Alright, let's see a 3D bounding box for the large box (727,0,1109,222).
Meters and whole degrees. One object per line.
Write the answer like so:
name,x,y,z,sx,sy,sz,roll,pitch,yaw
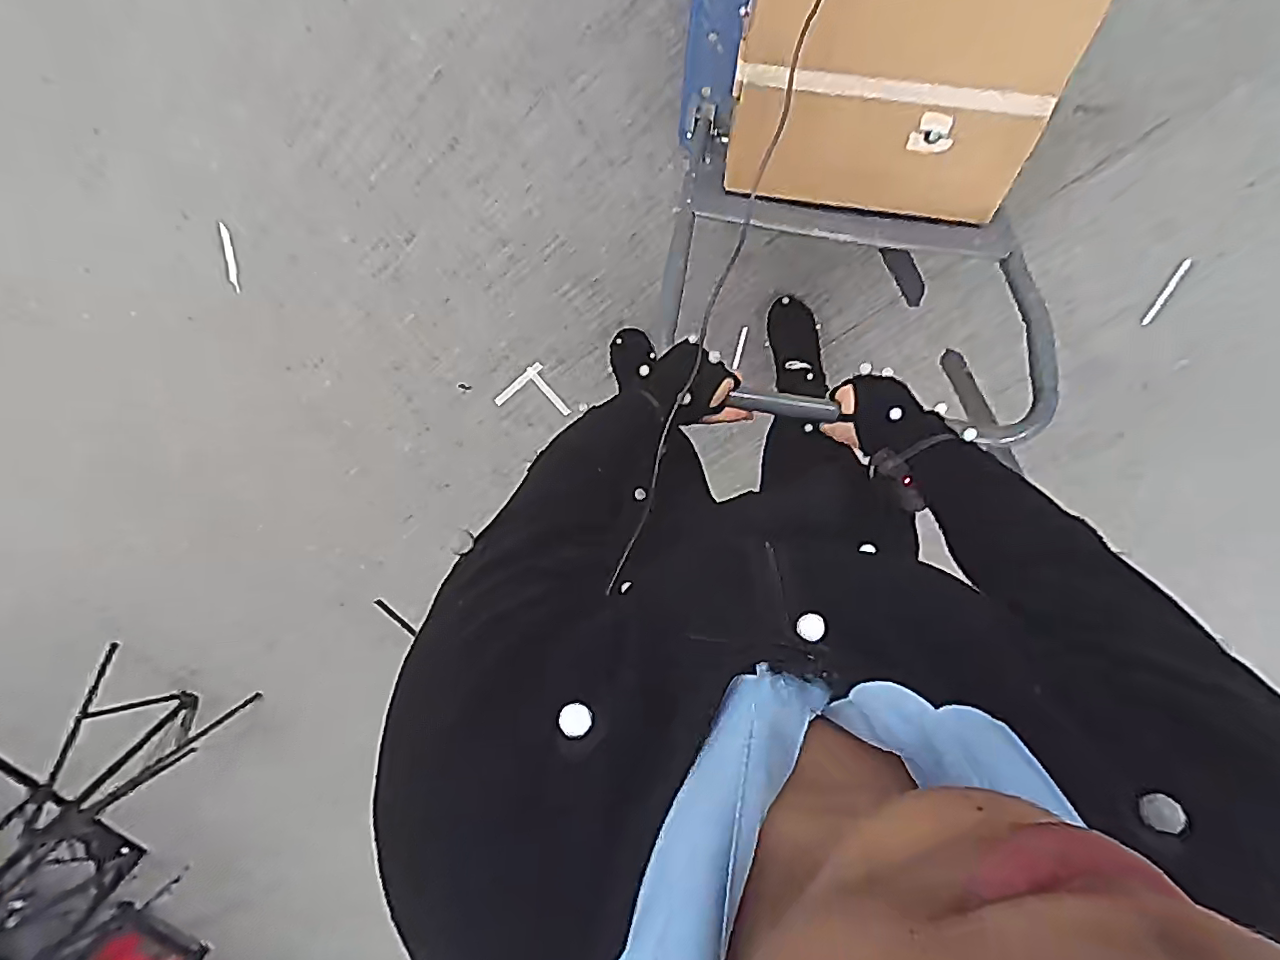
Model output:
large box,0.354,-0.624,0.800,0.408,0.320,0.320,8,142,2
